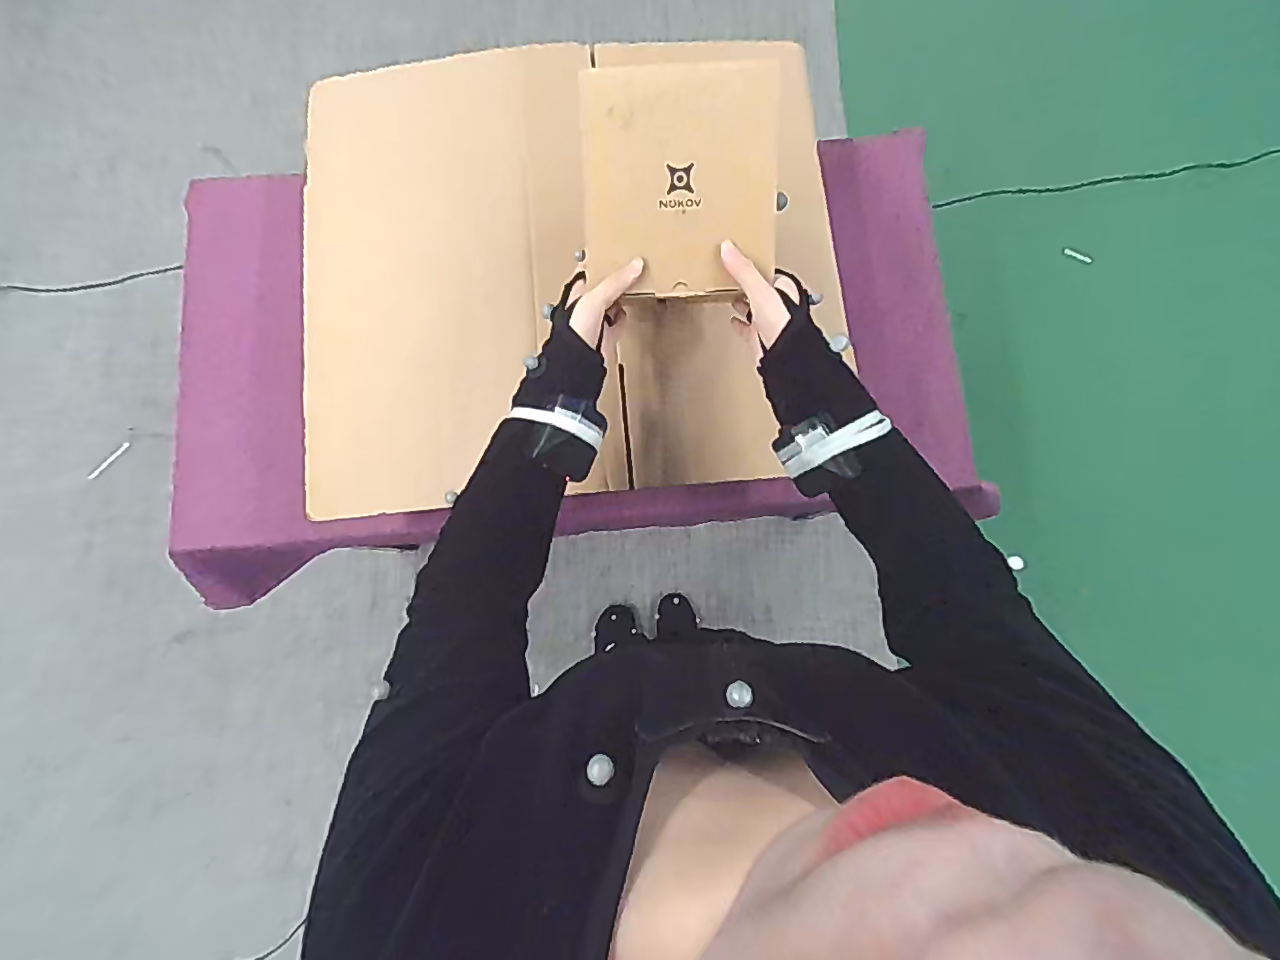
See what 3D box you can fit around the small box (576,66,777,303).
[{"bbox_3d":[0.031,-0.268,0.531,0.168,0.176,0.179,-2,109,2],"label":"small box"}]
